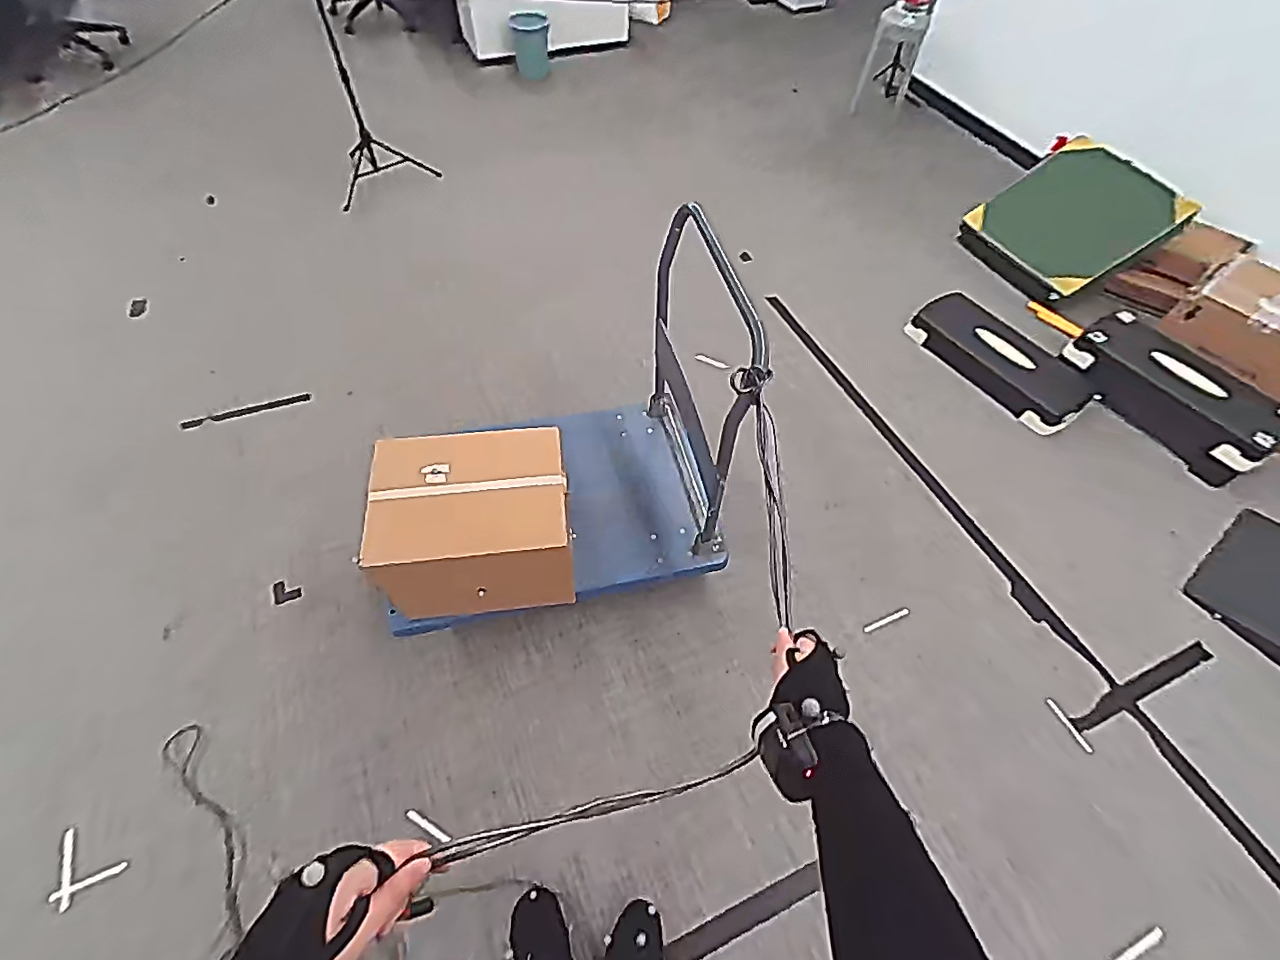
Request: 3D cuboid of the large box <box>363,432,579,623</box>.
[{"bbox_3d":[-0.362,0.116,1.260,0.408,0.320,0.320,-5,56,-6],"label":"large box"}]
